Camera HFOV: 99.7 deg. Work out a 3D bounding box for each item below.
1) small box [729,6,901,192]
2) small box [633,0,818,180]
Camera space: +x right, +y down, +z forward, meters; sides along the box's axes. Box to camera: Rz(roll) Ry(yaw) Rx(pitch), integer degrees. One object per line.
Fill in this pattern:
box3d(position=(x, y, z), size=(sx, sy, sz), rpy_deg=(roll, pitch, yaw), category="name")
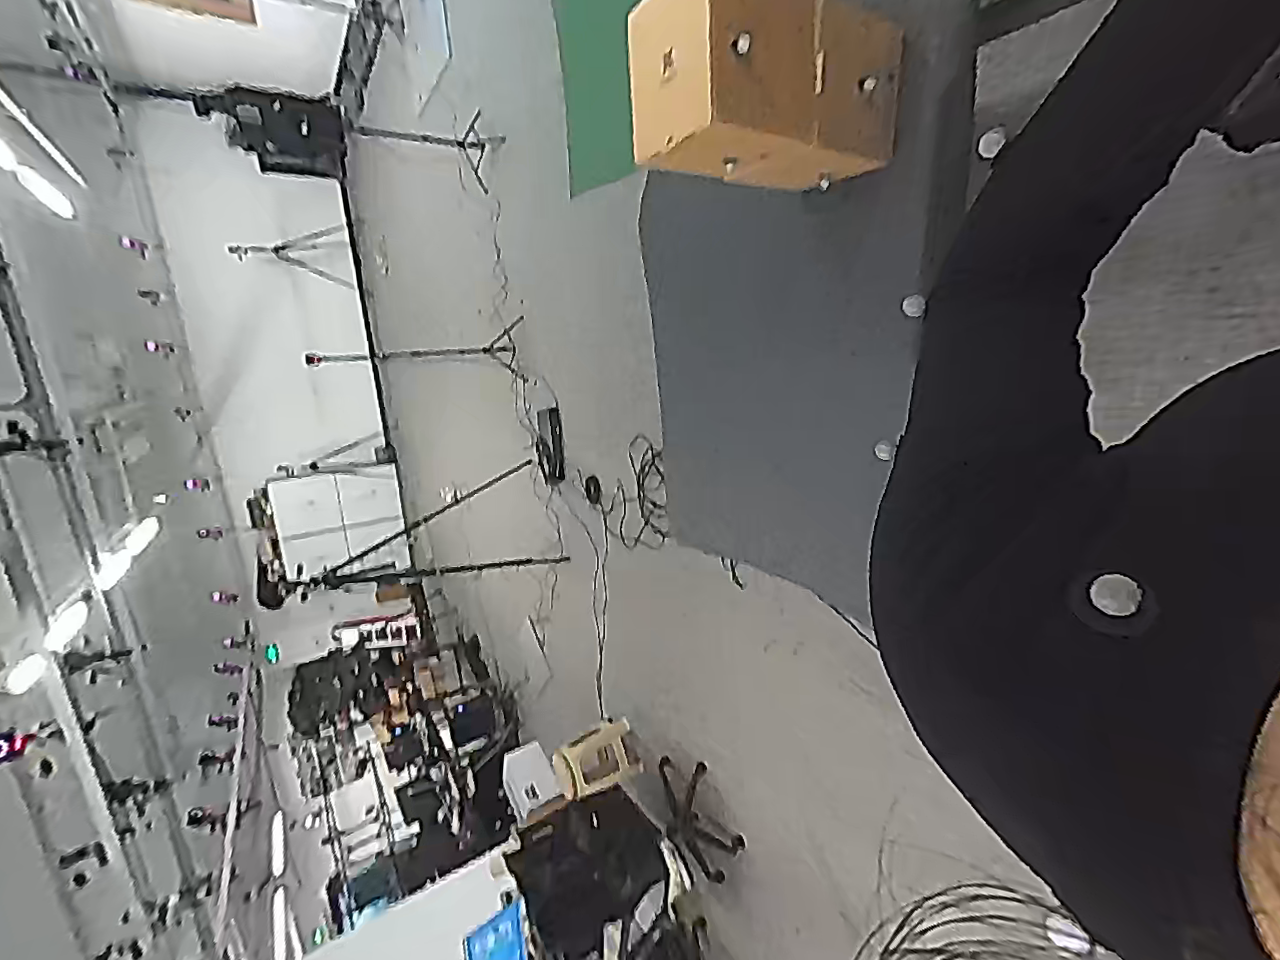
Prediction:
box3d(position=(0.247, -0.526, 0.777), size=(0.179, 0.176, 0.168), rpy_deg=(20, 118, 55), category="small box")
box3d(position=(0.109, -0.506, 0.692), size=(0.168, 0.176, 0.179), rpy_deg=(18, 117, 56), category="small box")
